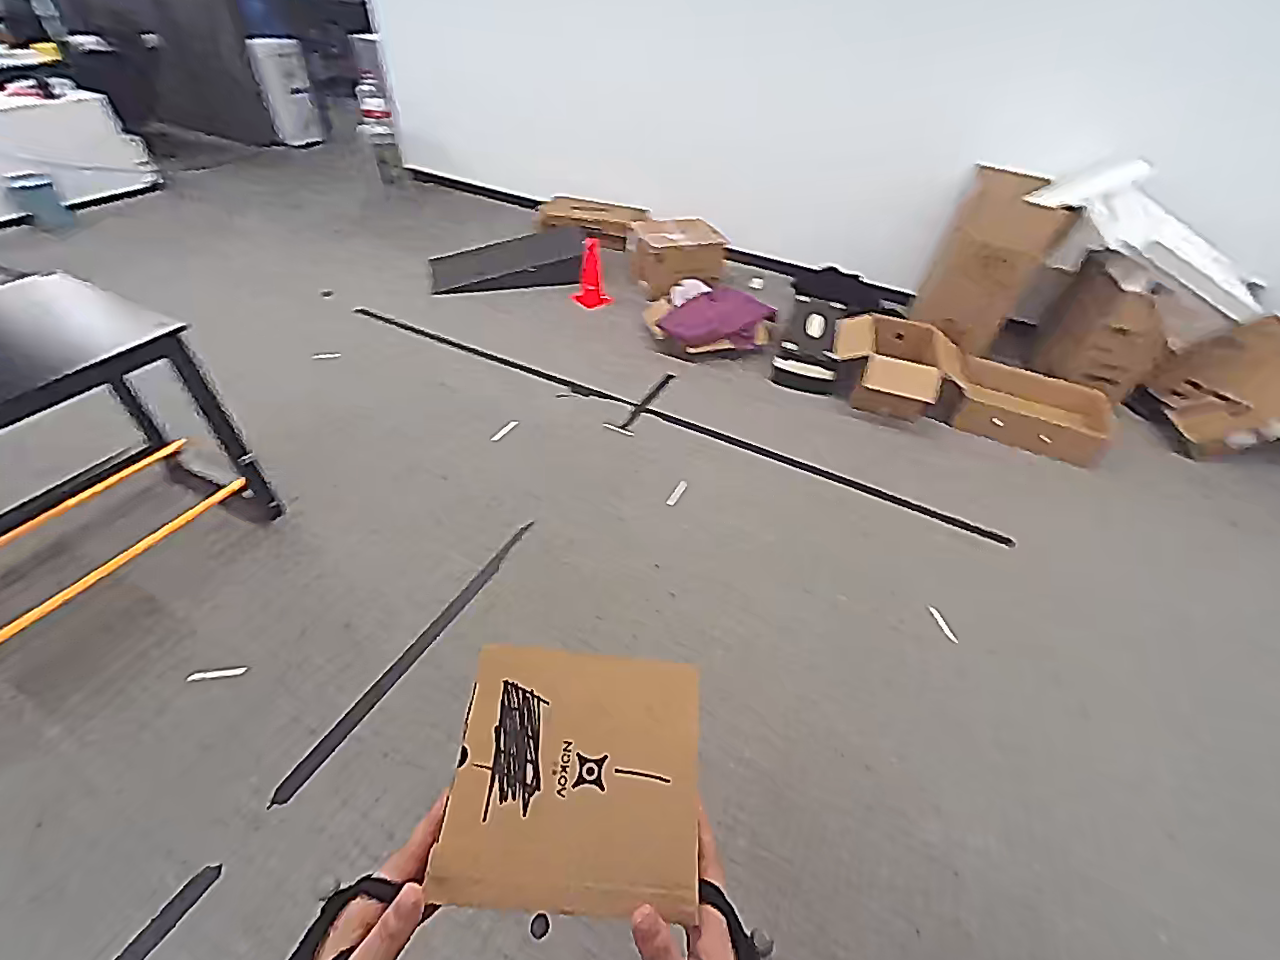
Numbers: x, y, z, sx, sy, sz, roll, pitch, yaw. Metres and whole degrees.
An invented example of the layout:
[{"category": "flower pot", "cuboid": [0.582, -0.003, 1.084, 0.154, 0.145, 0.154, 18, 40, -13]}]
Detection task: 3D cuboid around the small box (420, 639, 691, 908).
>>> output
[{"category": "small box", "cuboid": [-0.058, 0.250, 0.454, 0.179, 0.176, 0.168, 7, 52, -4]}]
